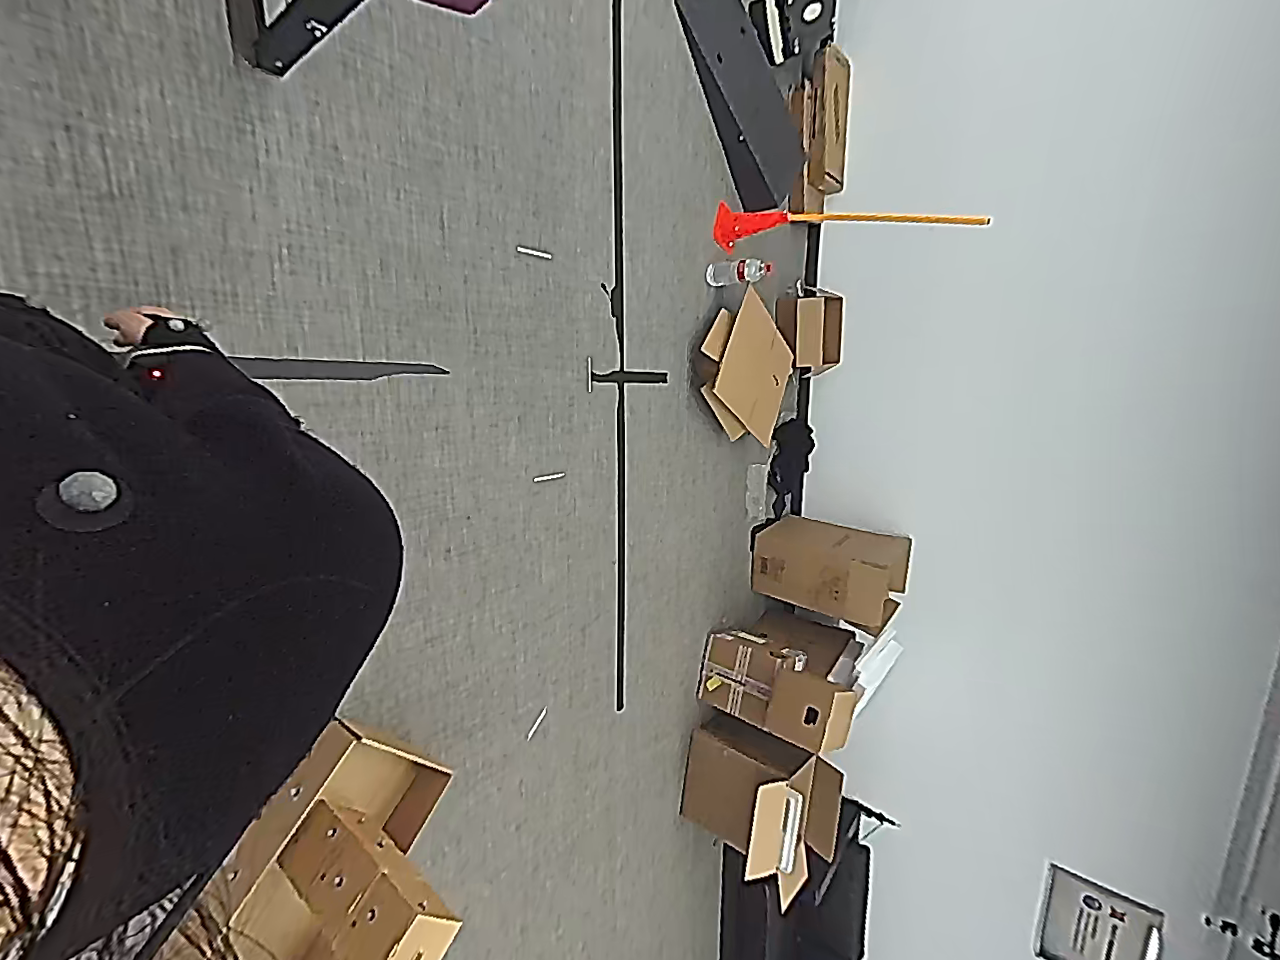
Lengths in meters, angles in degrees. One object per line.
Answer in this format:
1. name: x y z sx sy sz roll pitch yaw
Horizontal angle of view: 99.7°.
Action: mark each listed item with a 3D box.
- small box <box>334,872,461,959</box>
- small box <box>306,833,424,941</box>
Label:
1. small box: -0.570 1.067 1.275 0.168 0.176 0.179 -57 137 -27
2. small box: -0.699 1.034 1.370 0.168 0.176 0.179 -56 137 -27
